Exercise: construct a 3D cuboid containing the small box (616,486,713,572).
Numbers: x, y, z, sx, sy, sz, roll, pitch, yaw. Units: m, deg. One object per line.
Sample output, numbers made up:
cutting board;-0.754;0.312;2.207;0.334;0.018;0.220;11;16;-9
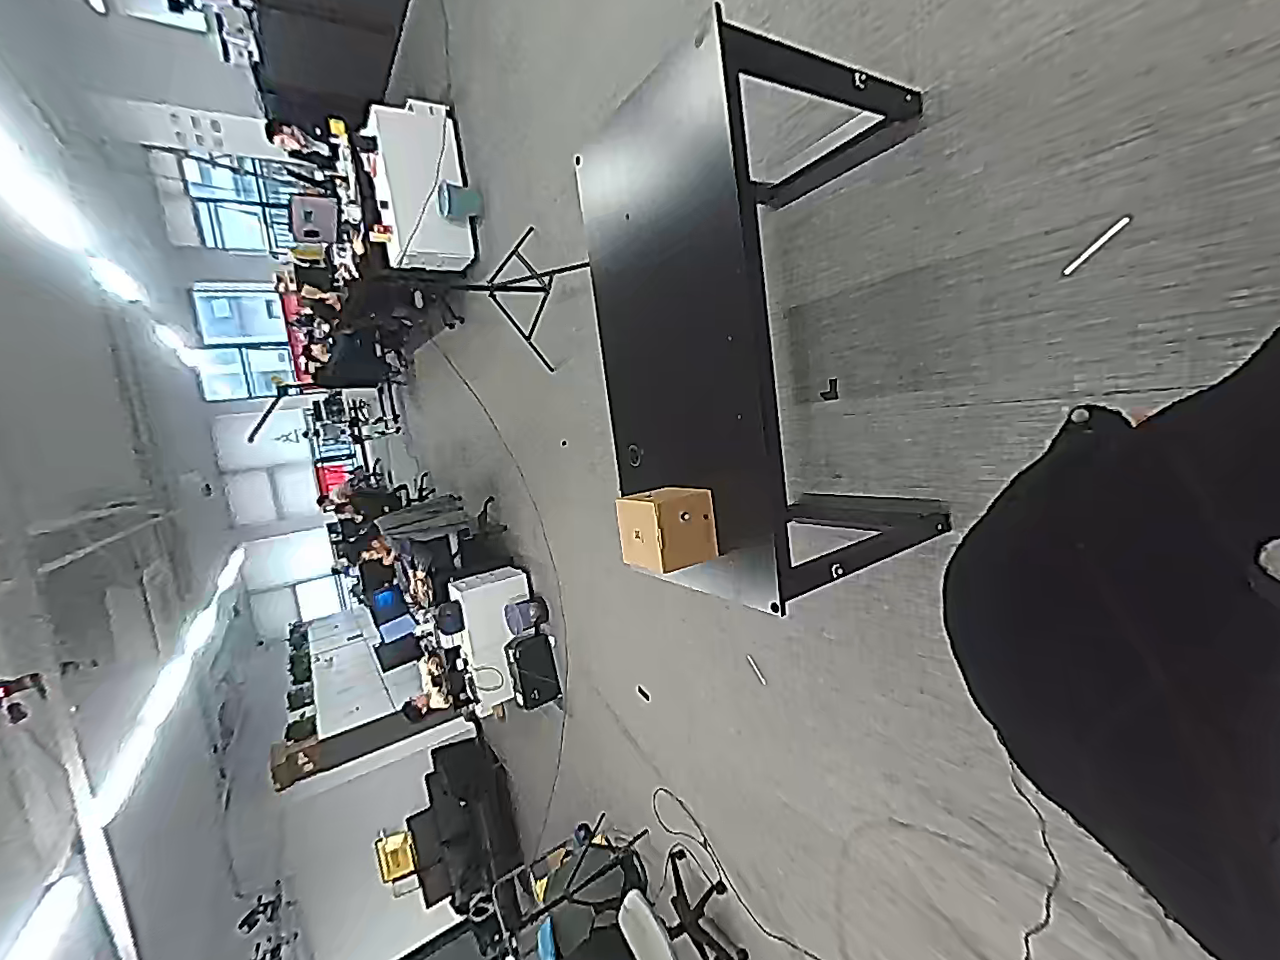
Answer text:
small box;0.065;0.110;1.312;0.179;0.176;0.168;3;101;58
